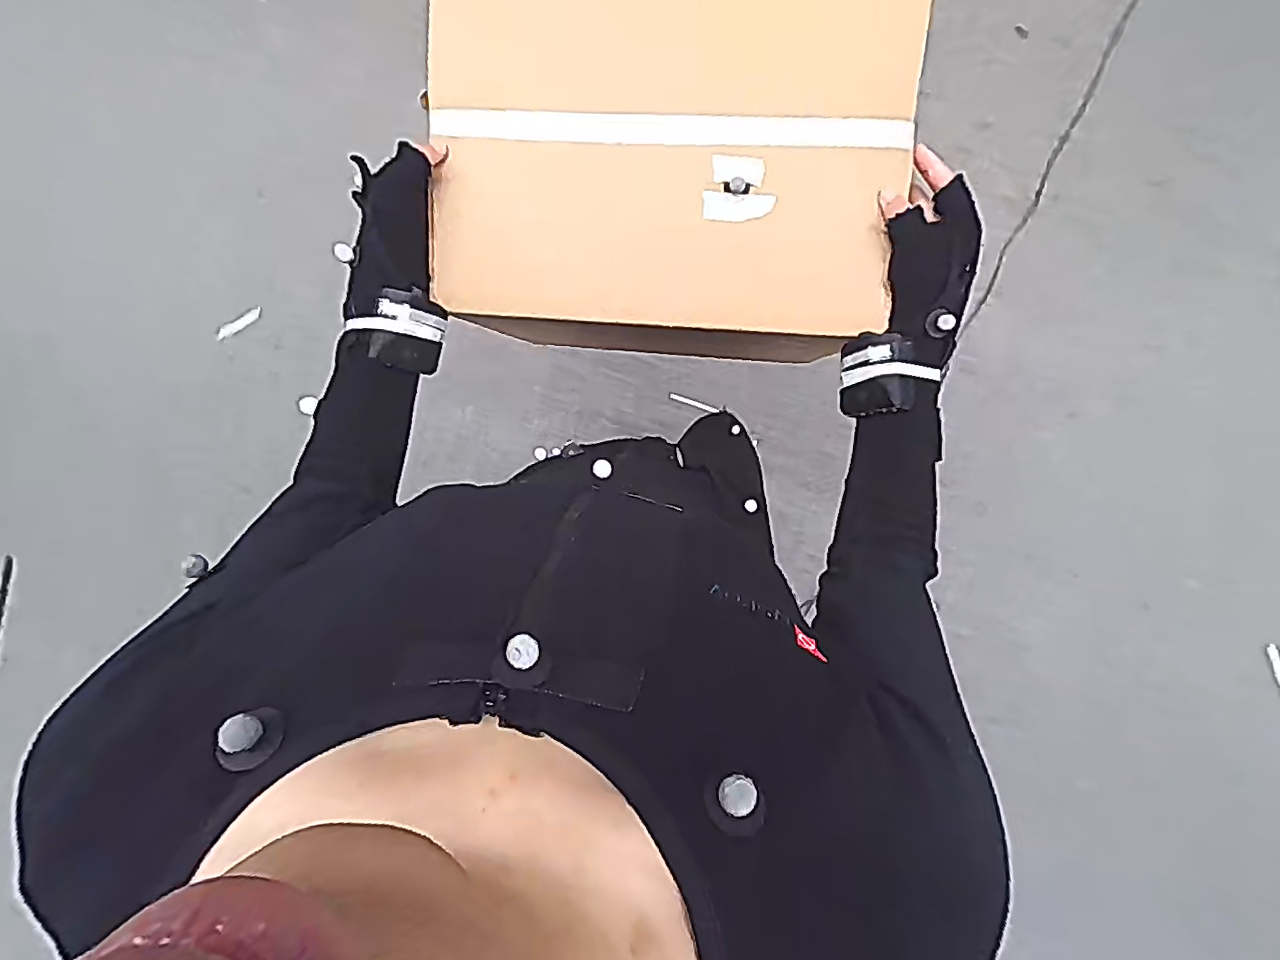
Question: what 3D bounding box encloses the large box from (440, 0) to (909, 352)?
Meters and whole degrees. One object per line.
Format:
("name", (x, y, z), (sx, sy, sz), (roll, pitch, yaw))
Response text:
("large box", (0.029, -0.322, 0.617), (0.408, 0.320, 0.320), (4, 100, 4))
